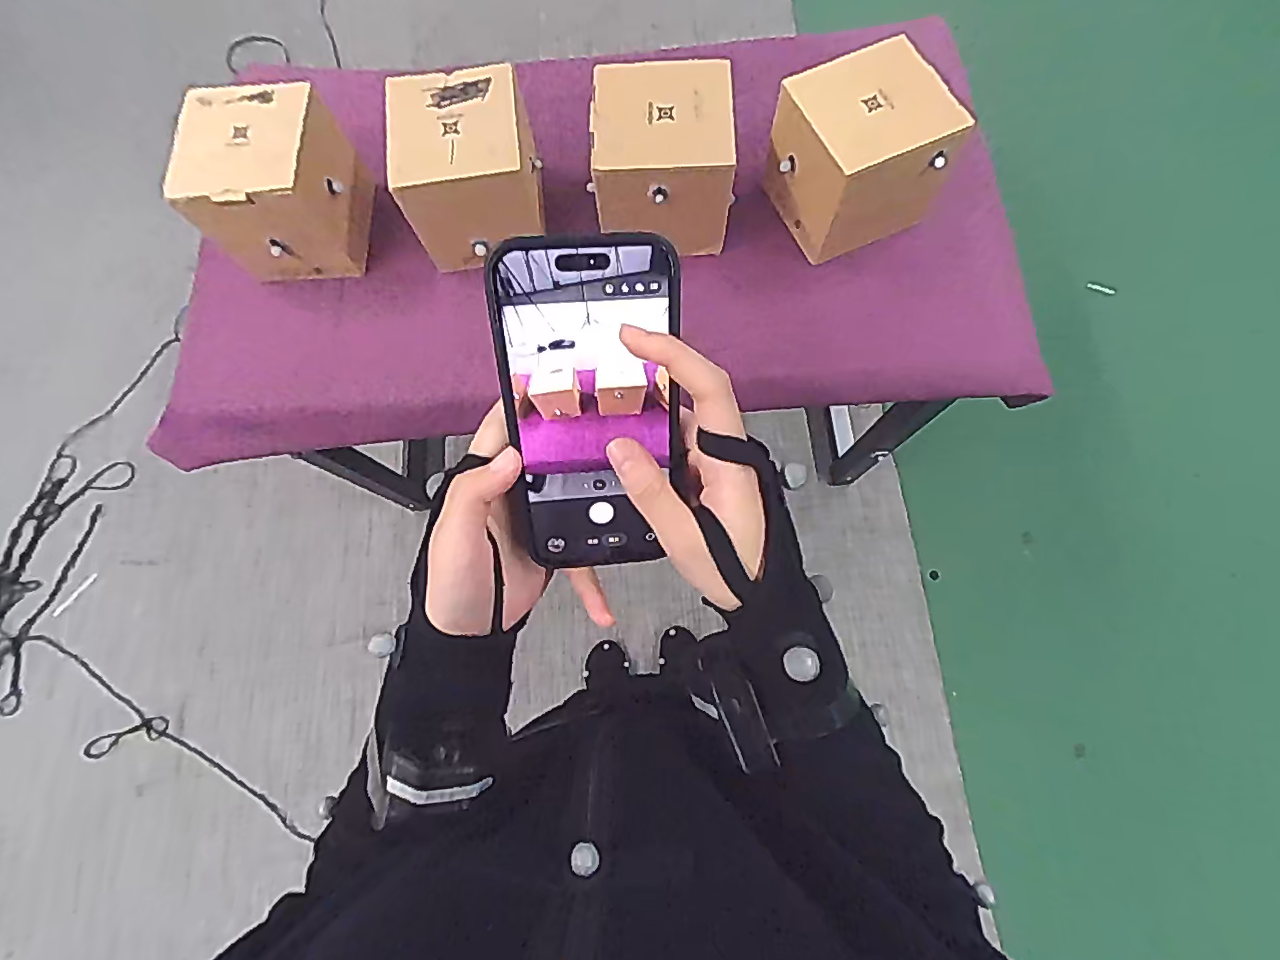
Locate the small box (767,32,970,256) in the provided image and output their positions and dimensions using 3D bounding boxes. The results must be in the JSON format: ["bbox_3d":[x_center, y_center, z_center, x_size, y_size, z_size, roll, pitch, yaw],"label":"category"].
[{"bbox_3d":[0.287,-0.441,0.733,0.179,0.176,0.168,-24,74,-4],"label":"small box"}]

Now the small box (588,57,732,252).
[{"bbox_3d":[0.029,-0.435,0.744,0.179,0.176,0.168,0,75,2],"label":"small box"}]

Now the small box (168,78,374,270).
[{"bbox_3d":[-0.498,-0.414,0.759,0.168,0.176,0.179,-2,75,2],"label":"small box"}]

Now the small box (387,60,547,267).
[{"bbox_3d":[-0.231,-0.429,0.752,0.168,0.176,0.179,-7,75,1],"label":"small box"}]
